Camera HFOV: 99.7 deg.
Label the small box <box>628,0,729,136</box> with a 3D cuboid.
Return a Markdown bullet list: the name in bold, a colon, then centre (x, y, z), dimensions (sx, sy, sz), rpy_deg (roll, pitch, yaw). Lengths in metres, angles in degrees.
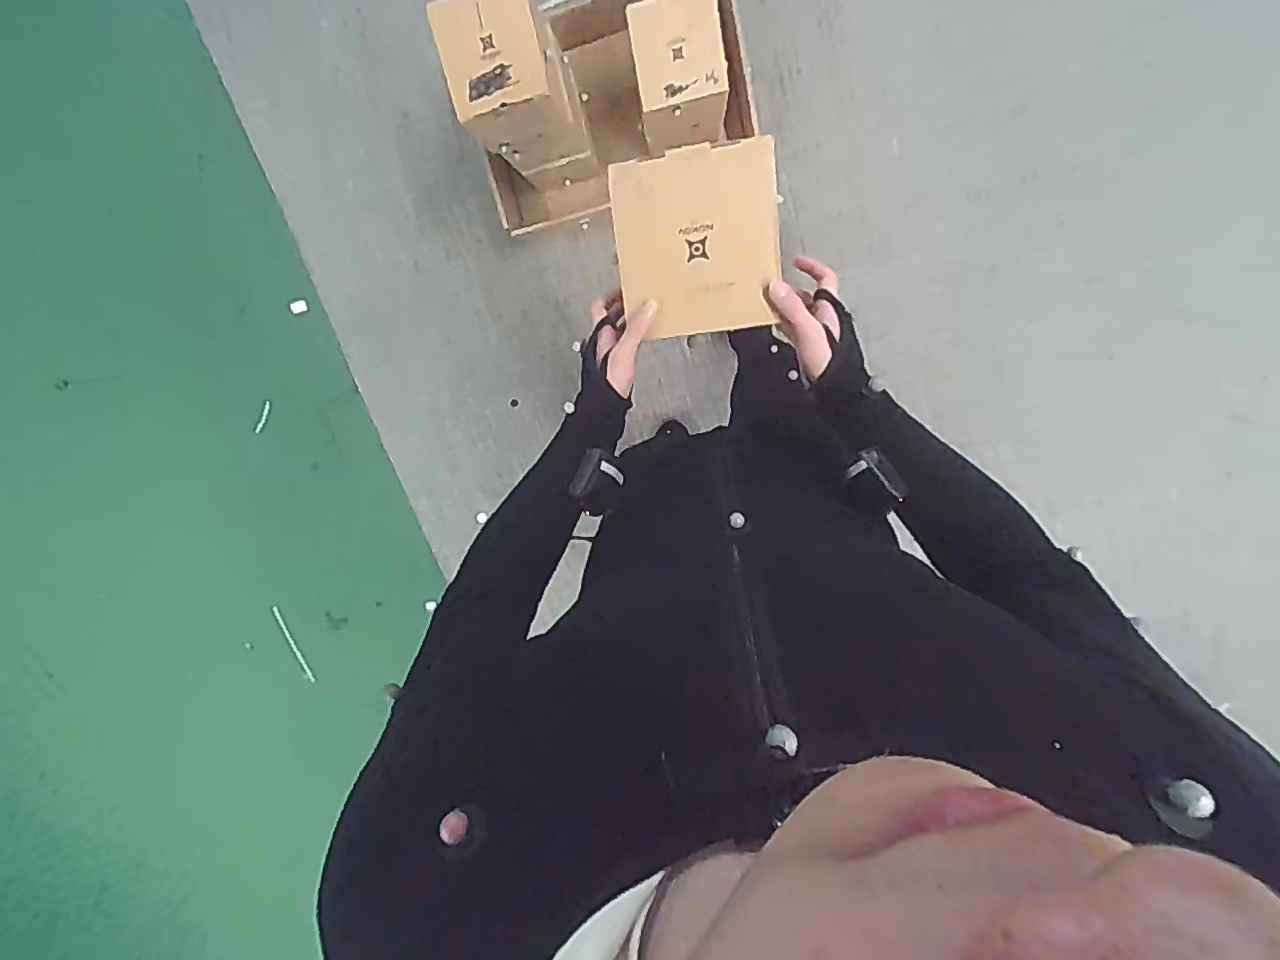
- **small box**: centre (0.077, -0.815, 1.059), dimensions (0.168, 0.176, 0.179), rpy_deg (-9, 105, 8)

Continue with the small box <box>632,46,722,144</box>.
- **small box**: centre (0.085, -0.862, 1.216), dimensions (0.168, 0.176, 0.179), rpy_deg (-11, 105, 9)

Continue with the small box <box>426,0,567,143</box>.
- **small box**: centre (-0.238, -0.720, 0.946), dimensions (0.168, 0.176, 0.179), rpy_deg (-12, 103, 8)

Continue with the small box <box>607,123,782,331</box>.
- **small box**: centre (0.065, -0.267, 0.616), dimensions (0.168, 0.176, 0.179), rpy_deg (-5, 105, 9)

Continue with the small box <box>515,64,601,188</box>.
- **small box**: centre (-0.198, -0.811, 1.259), dimensions (0.168, 0.176, 0.179), rpy_deg (-11, 104, 9)
